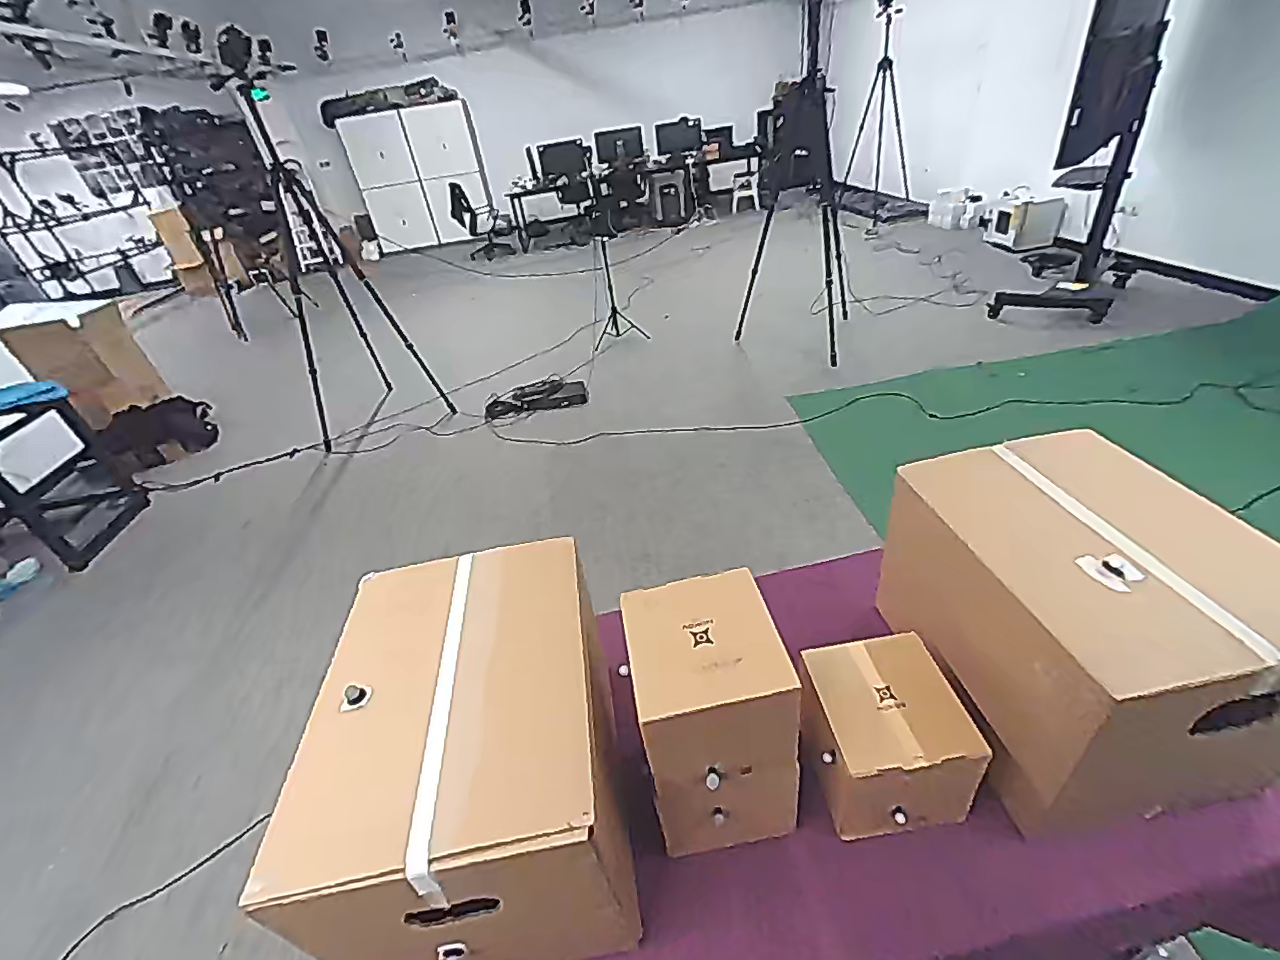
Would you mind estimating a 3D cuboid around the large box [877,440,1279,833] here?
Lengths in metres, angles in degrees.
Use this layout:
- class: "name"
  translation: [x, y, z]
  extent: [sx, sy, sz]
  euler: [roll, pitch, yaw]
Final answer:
- class: "large box"
  translation: [0.592, 0.193, 0.761]
  extent: [0.320, 0.320, 0.408]
  euler: [-10, 36, -1]
